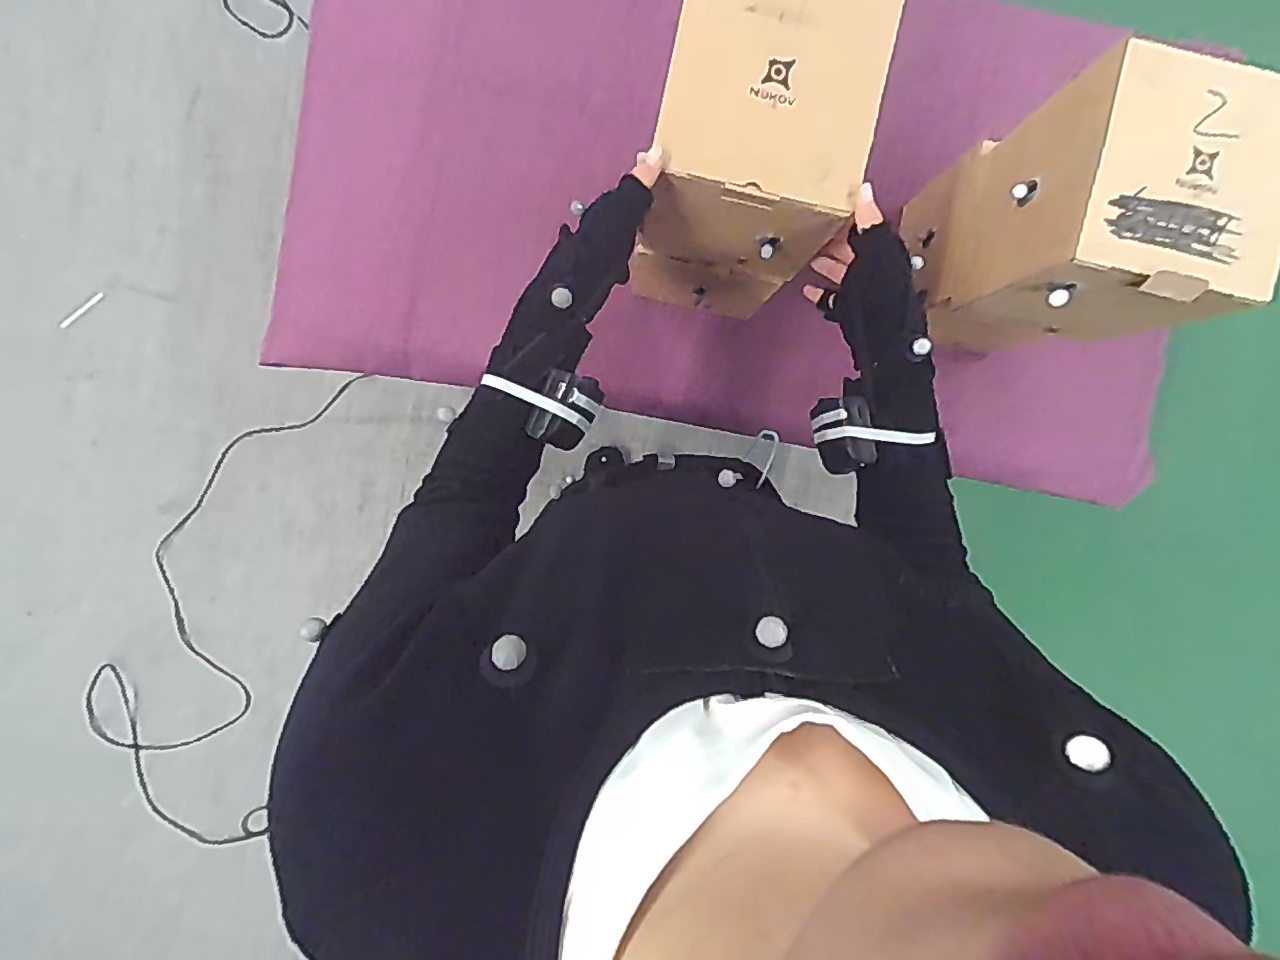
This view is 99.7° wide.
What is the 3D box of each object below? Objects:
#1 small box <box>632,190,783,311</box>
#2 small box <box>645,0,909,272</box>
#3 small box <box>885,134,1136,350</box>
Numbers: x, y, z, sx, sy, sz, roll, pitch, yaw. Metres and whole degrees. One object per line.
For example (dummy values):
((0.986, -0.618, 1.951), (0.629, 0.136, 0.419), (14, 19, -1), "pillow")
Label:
((0.089, -0.317, 0.646), (0.168, 0.176, 0.179), (13, 94, -3), "small box")
((0.102, -0.308, 0.484), (0.168, 0.176, 0.179), (13, 94, -3), "small box")
((0.428, -0.268, 0.658), (0.168, 0.176, 0.179), (13, 94, -5), "small box")
